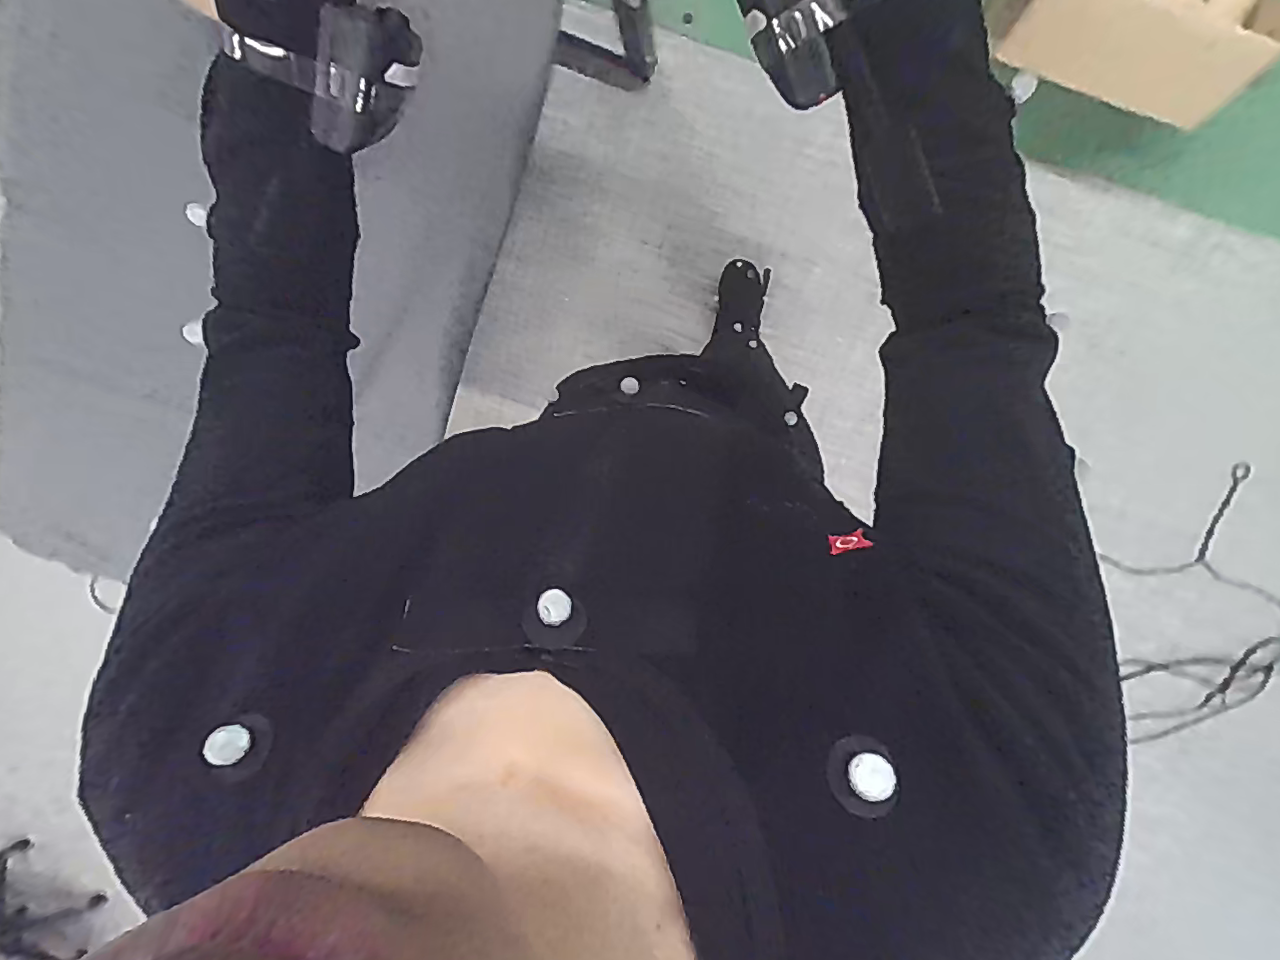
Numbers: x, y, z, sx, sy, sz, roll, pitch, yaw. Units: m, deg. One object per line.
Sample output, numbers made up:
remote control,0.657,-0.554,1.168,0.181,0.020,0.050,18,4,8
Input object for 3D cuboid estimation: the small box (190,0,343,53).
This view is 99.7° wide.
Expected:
small box,-0.410,-0.566,0.529,0.179,0.176,0.168,21,107,0
